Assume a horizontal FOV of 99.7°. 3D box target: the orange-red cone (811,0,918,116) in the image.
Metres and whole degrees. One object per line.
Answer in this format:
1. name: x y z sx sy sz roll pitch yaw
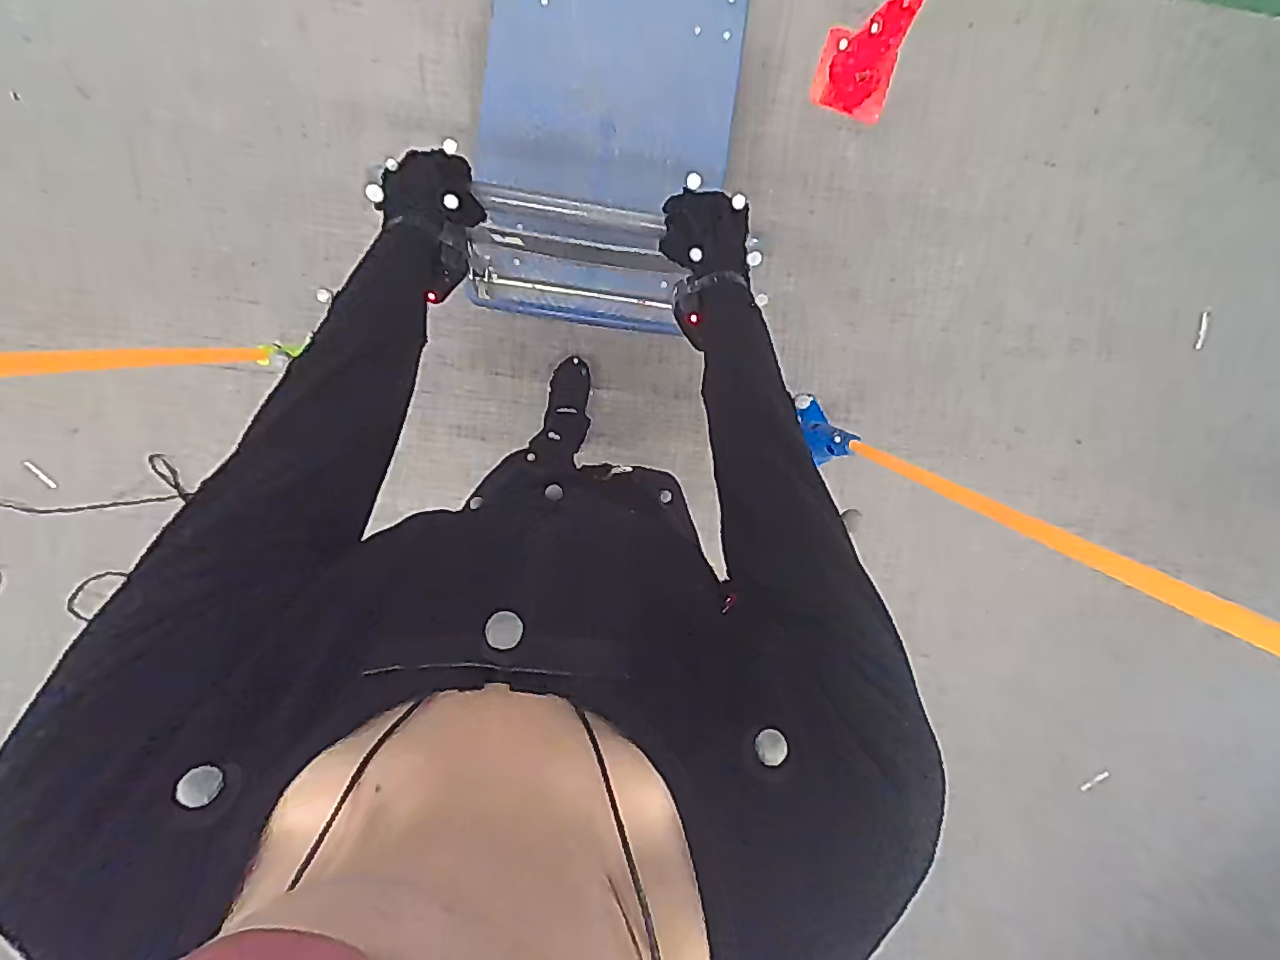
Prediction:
1. orange-red cone: 0.580 -1.074 1.268 0.198 0.360 0.199 17 95 -5
